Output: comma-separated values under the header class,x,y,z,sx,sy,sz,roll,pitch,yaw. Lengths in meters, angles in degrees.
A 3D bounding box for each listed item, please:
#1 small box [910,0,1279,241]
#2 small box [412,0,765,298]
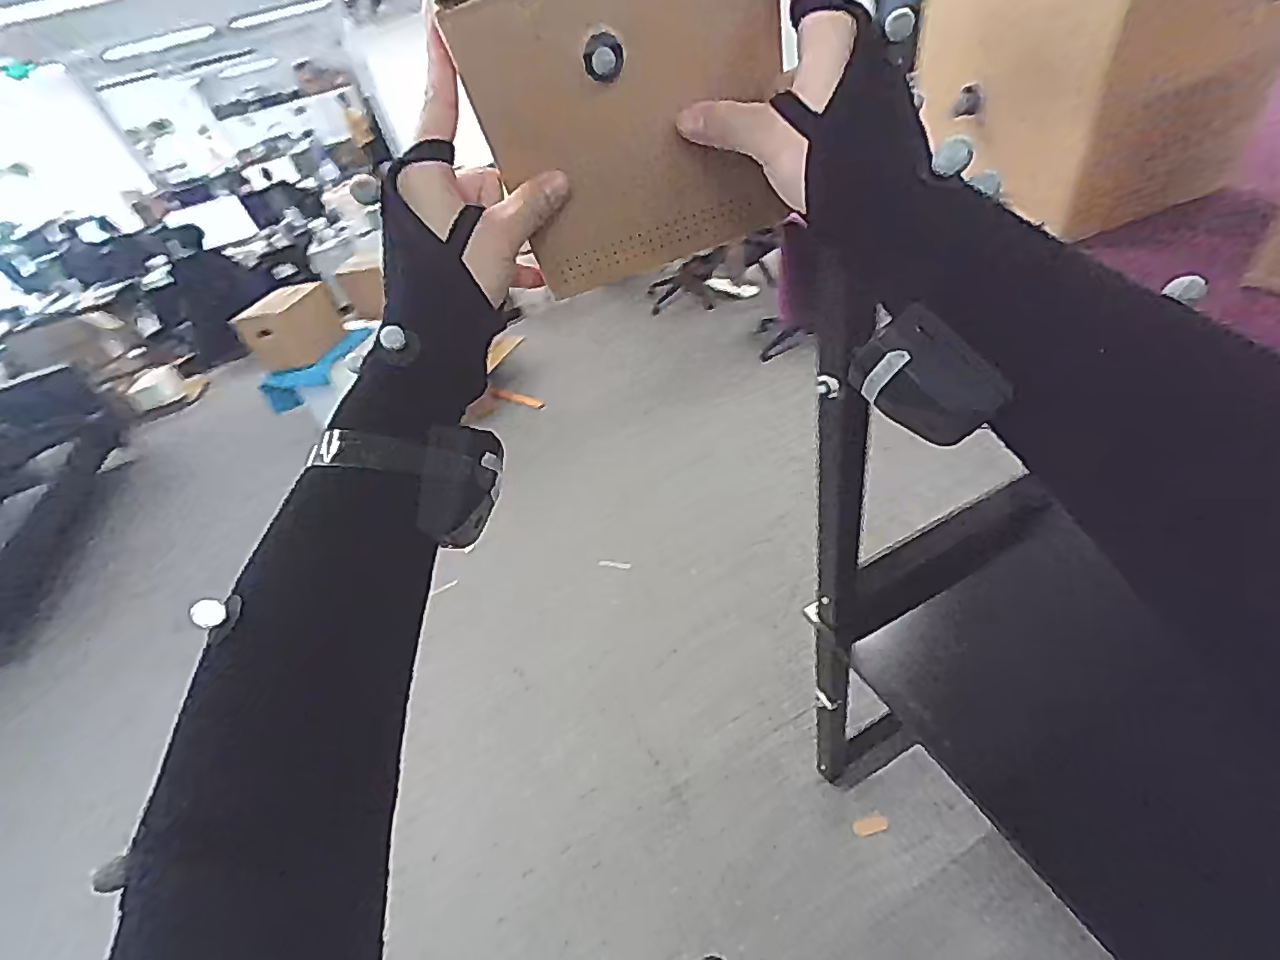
class,x,y,z,sx,sy,sz,roll,pitch,yaw
small box,0.341,-0.307,0.428,0.179,0.176,0.168,-21,40,-9
small box,-0.027,-0.255,0.373,0.179,0.176,0.168,-19,48,2
